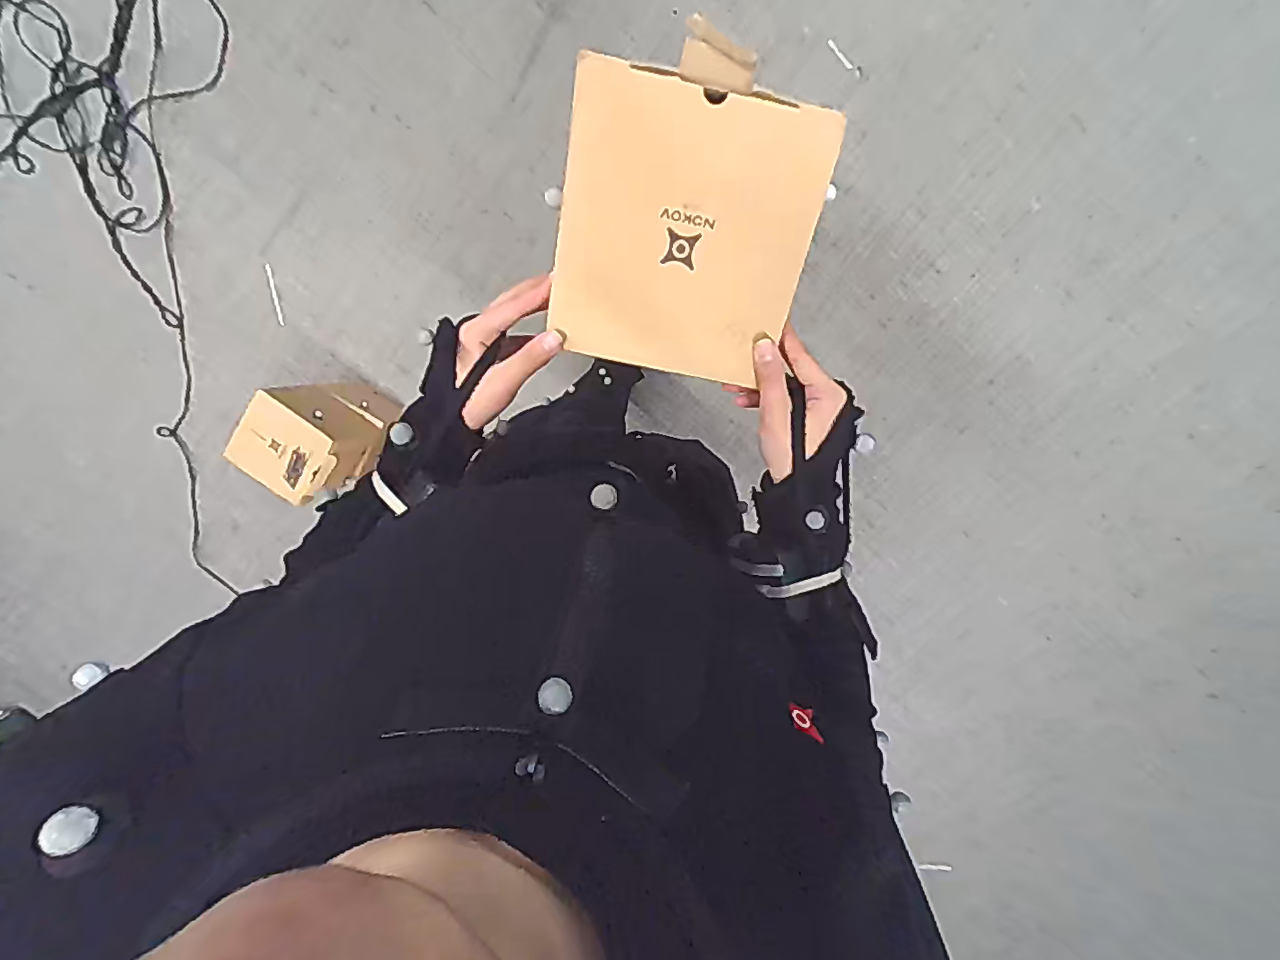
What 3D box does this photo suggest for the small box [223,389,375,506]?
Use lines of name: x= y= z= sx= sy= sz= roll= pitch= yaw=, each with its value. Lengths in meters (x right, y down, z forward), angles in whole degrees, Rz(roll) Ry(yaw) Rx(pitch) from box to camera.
small box: x=-0.694 y=-0.078 z=1.123 sx=0.179 sy=0.176 sz=0.168 roll=36 pitch=102 yaw=-5

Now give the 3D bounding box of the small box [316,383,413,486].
small box: x=-0.674 y=-0.114 z=1.283 sx=0.168 sy=0.176 sz=0.179 roll=31 pitch=103 yaw=-4

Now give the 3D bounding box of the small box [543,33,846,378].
small box: x=0.030 y=-0.199 z=0.422 sx=0.168 sy=0.176 sz=0.179 roll=11 pitch=115 yaw=-3
